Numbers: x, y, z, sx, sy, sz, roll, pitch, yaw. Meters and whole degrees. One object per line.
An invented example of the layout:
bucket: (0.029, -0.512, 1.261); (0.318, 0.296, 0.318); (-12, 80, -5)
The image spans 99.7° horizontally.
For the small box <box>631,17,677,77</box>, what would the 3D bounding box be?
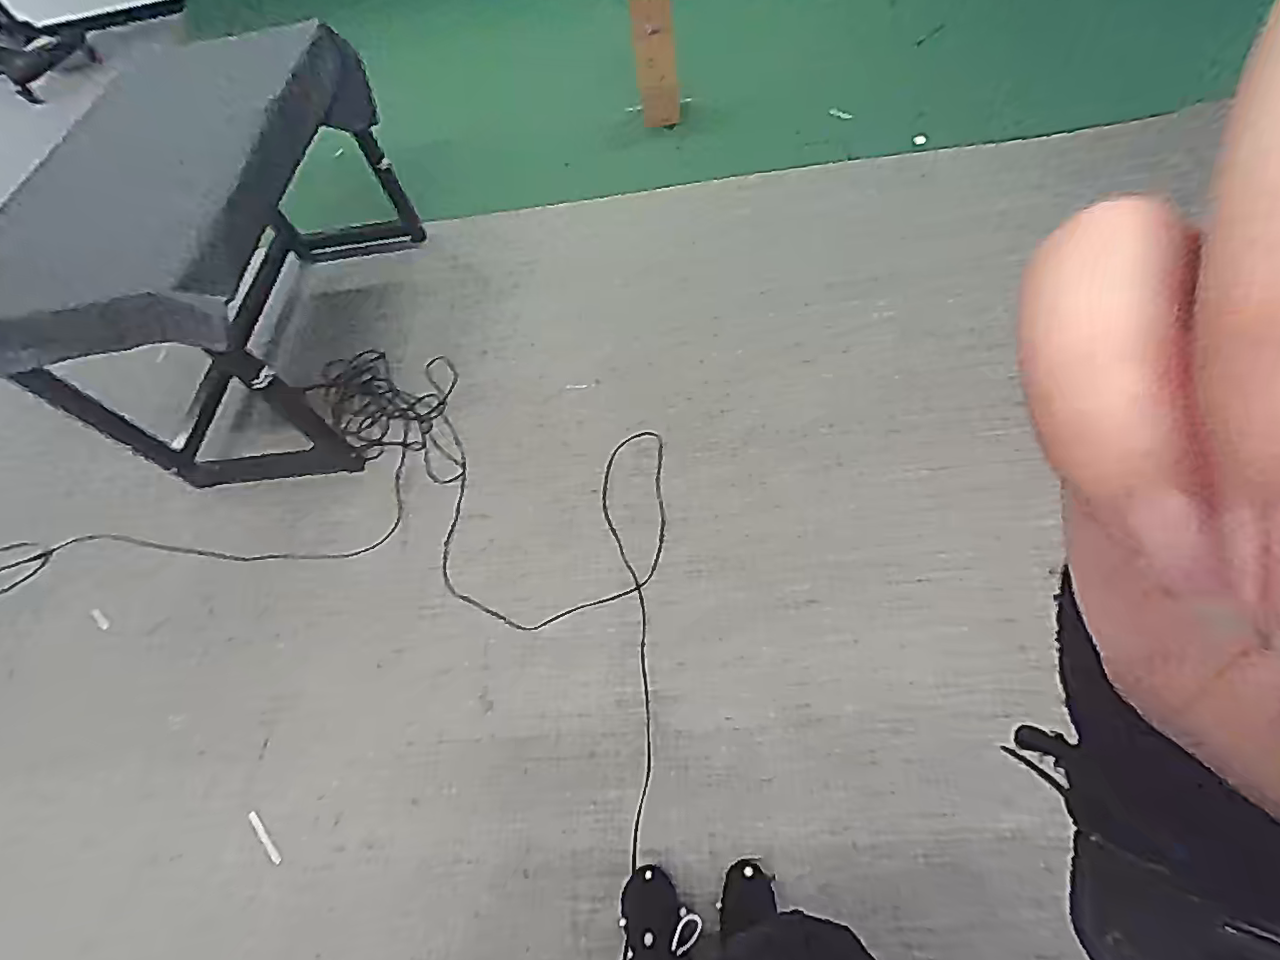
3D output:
small box: (0.060, -1.811, 2.251); (0.168, 0.176, 0.179); (-7, 60, 5)

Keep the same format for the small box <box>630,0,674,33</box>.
small box: (0.041, -1.891, 2.110); (0.168, 0.176, 0.179); (-7, 61, 6)
